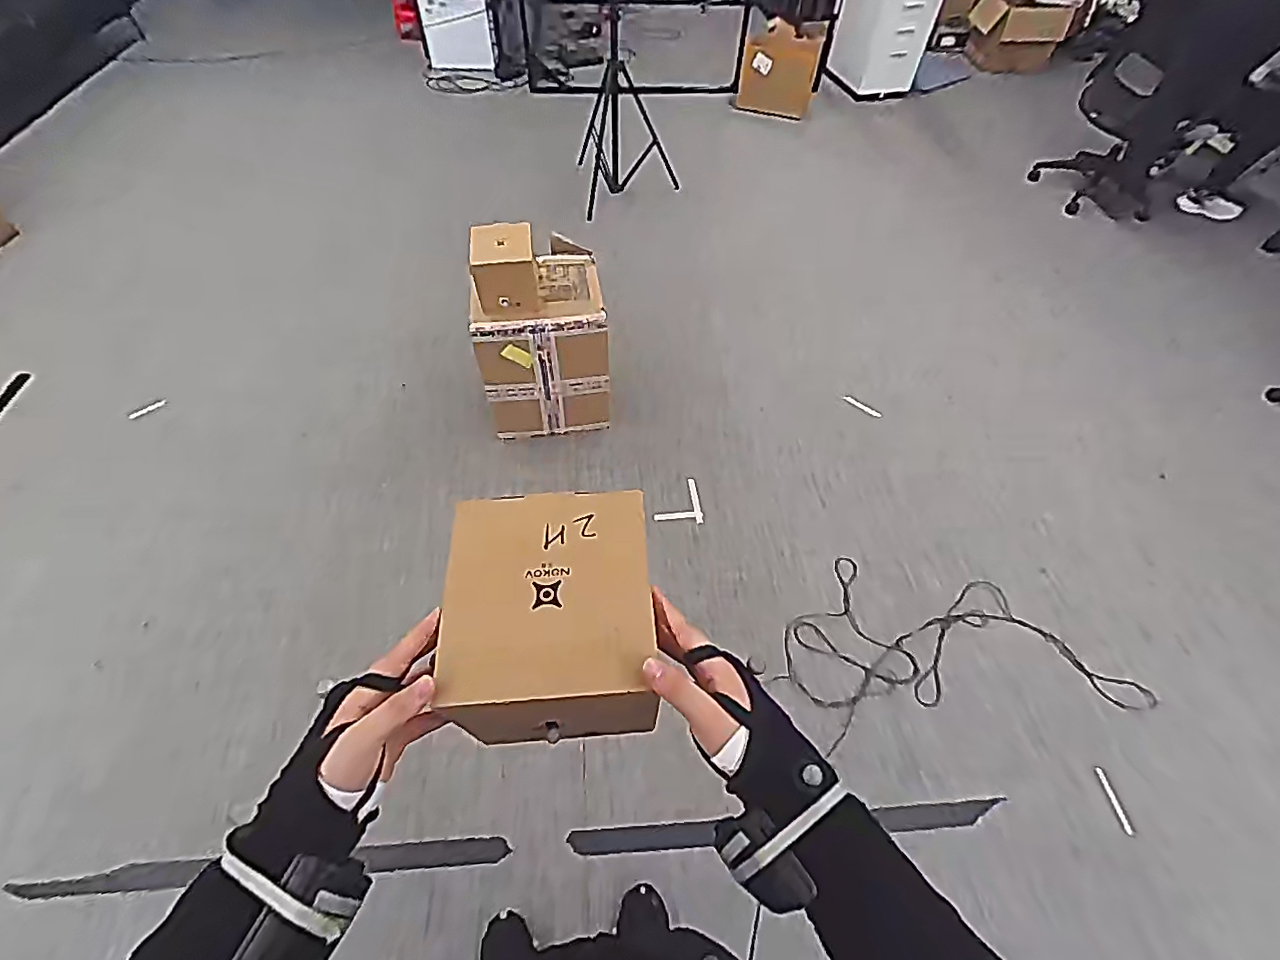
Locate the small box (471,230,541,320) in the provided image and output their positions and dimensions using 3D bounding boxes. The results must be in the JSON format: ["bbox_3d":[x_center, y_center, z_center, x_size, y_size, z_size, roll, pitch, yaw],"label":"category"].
[{"bbox_3d":[-0.379,-0.581,1.540,0.168,0.176,0.179,-7,59,-6],"label":"small box"}]
